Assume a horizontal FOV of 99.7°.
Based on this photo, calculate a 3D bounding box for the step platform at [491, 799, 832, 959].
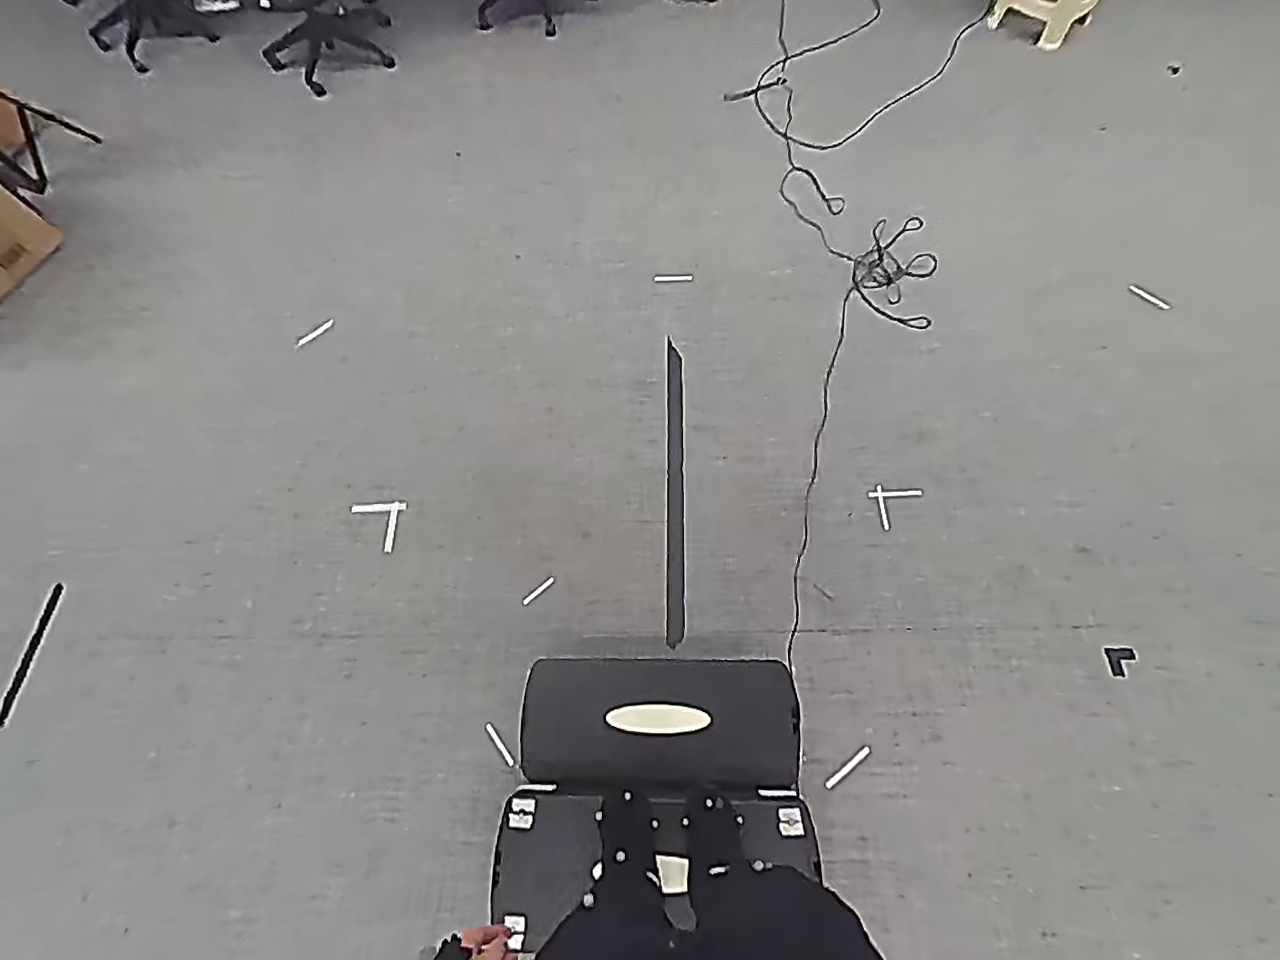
[{"bbox_3d":[0.043,0.873,1.141,0.684,0.204,0.286,2,63,7],"label":"step platform"}]
